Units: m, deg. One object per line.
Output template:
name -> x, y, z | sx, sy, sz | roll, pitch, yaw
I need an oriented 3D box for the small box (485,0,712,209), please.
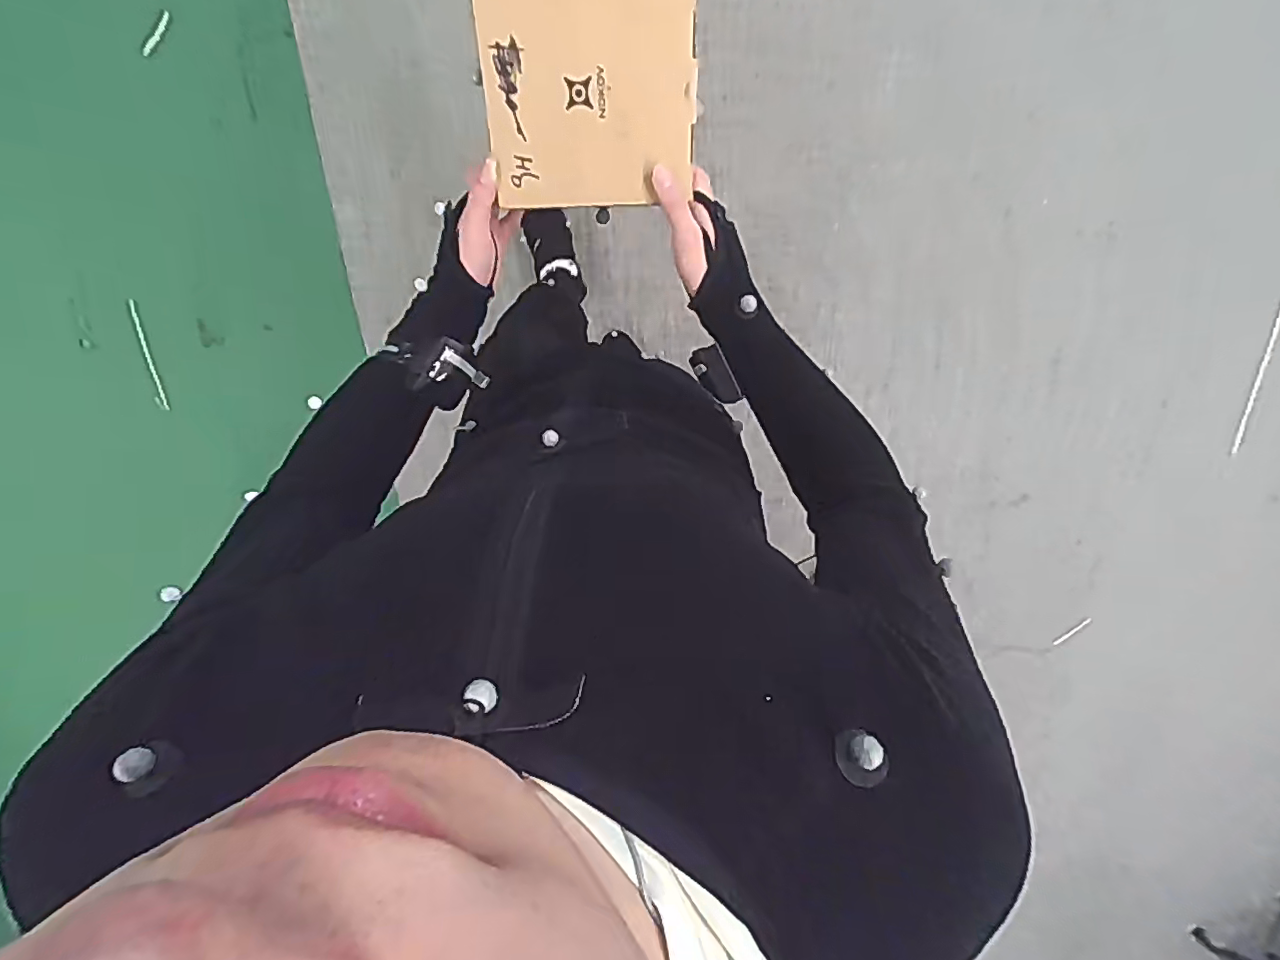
small box -> -0.035, -0.351, 0.509 | 0.179, 0.176, 0.168 | -2, 115, -1
